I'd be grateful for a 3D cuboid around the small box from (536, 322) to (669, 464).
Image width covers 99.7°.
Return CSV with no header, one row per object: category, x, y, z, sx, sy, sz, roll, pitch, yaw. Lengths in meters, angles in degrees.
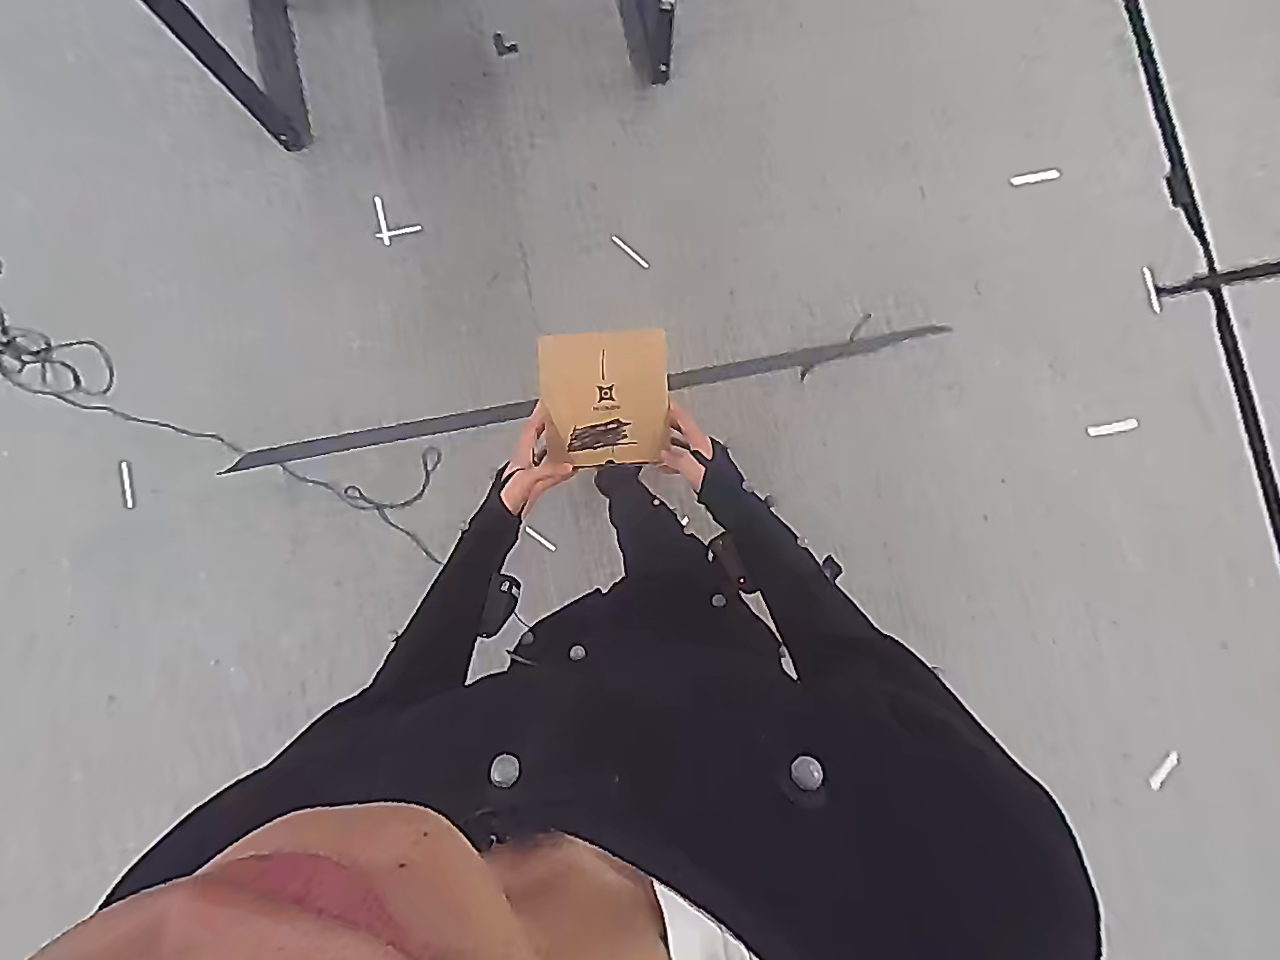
small box,-0.047,-0.126,0.782,0.168,0.176,0.179,-5,100,-1
